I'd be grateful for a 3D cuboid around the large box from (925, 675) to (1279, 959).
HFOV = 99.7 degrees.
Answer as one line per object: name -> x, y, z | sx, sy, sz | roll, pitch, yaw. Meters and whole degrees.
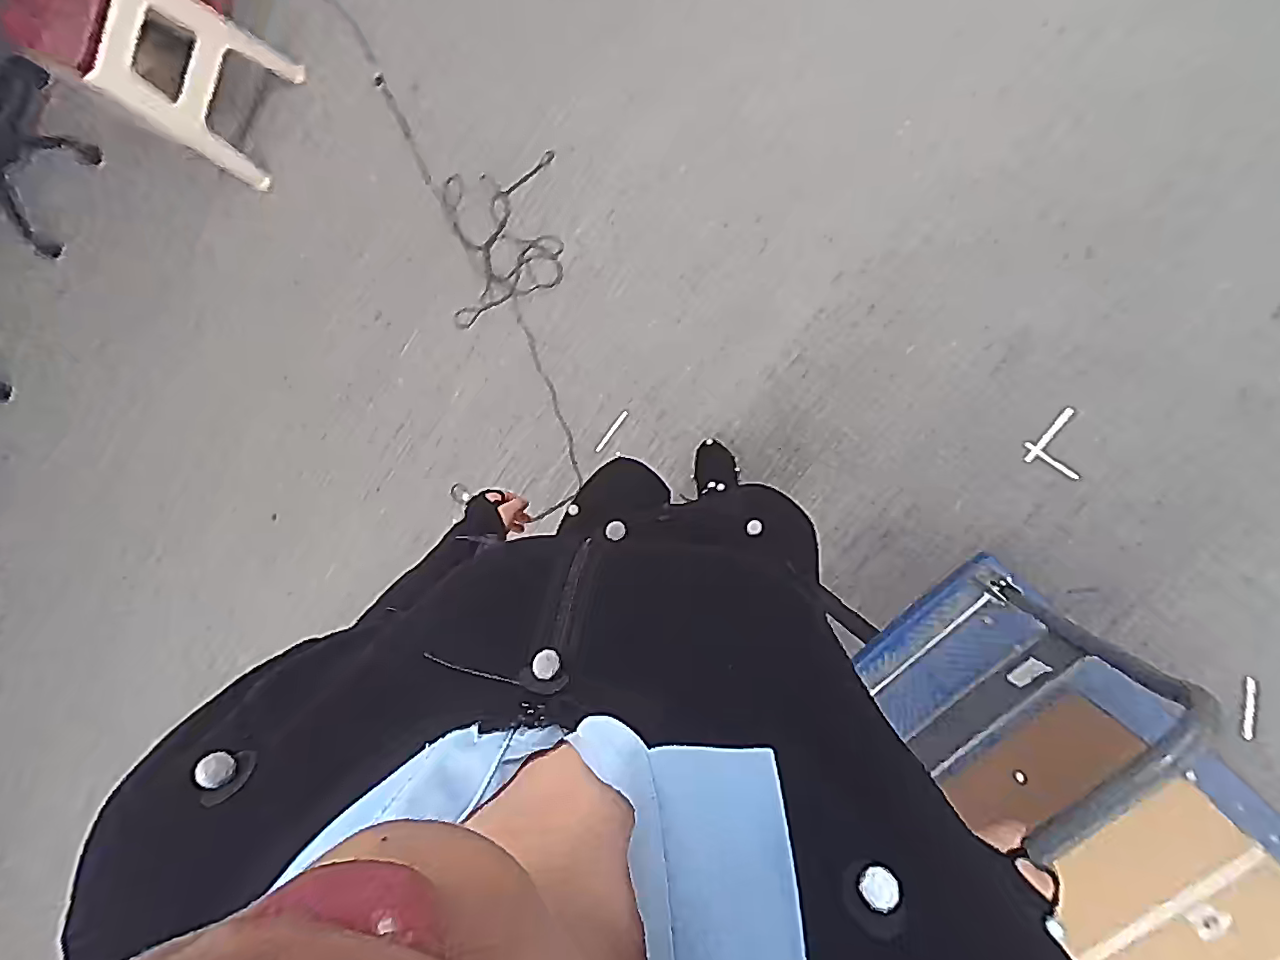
large box -> 0.855, 0.669, 1.045 | 0.320, 0.320, 0.408 | 45, 100, 6
